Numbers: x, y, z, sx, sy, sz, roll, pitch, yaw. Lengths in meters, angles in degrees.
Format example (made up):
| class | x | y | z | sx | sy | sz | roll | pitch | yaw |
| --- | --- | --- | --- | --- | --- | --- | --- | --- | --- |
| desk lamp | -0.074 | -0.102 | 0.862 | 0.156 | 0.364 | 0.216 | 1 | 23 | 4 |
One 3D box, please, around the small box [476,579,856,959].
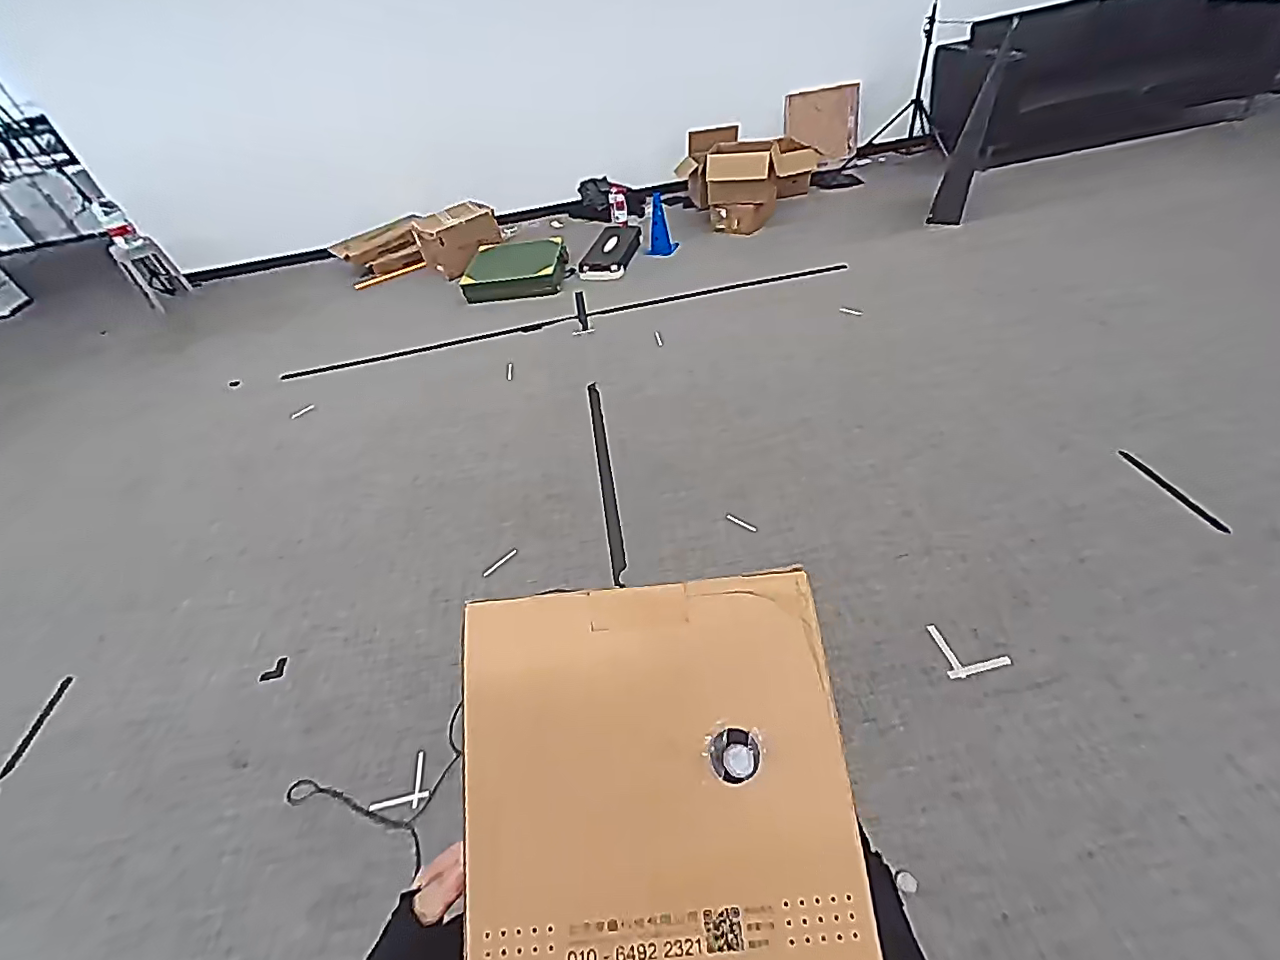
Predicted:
| class | x | y | z | sx | sy | sz | roll | pitch | yaw |
| --- | --- | --- | --- | --- | --- | --- | --- | --- | --- |
| small box | 0.011 | 0.161 | 0.327 | 0.168 | 0.179 | 0.176 | -6 | 74 | 1 |
